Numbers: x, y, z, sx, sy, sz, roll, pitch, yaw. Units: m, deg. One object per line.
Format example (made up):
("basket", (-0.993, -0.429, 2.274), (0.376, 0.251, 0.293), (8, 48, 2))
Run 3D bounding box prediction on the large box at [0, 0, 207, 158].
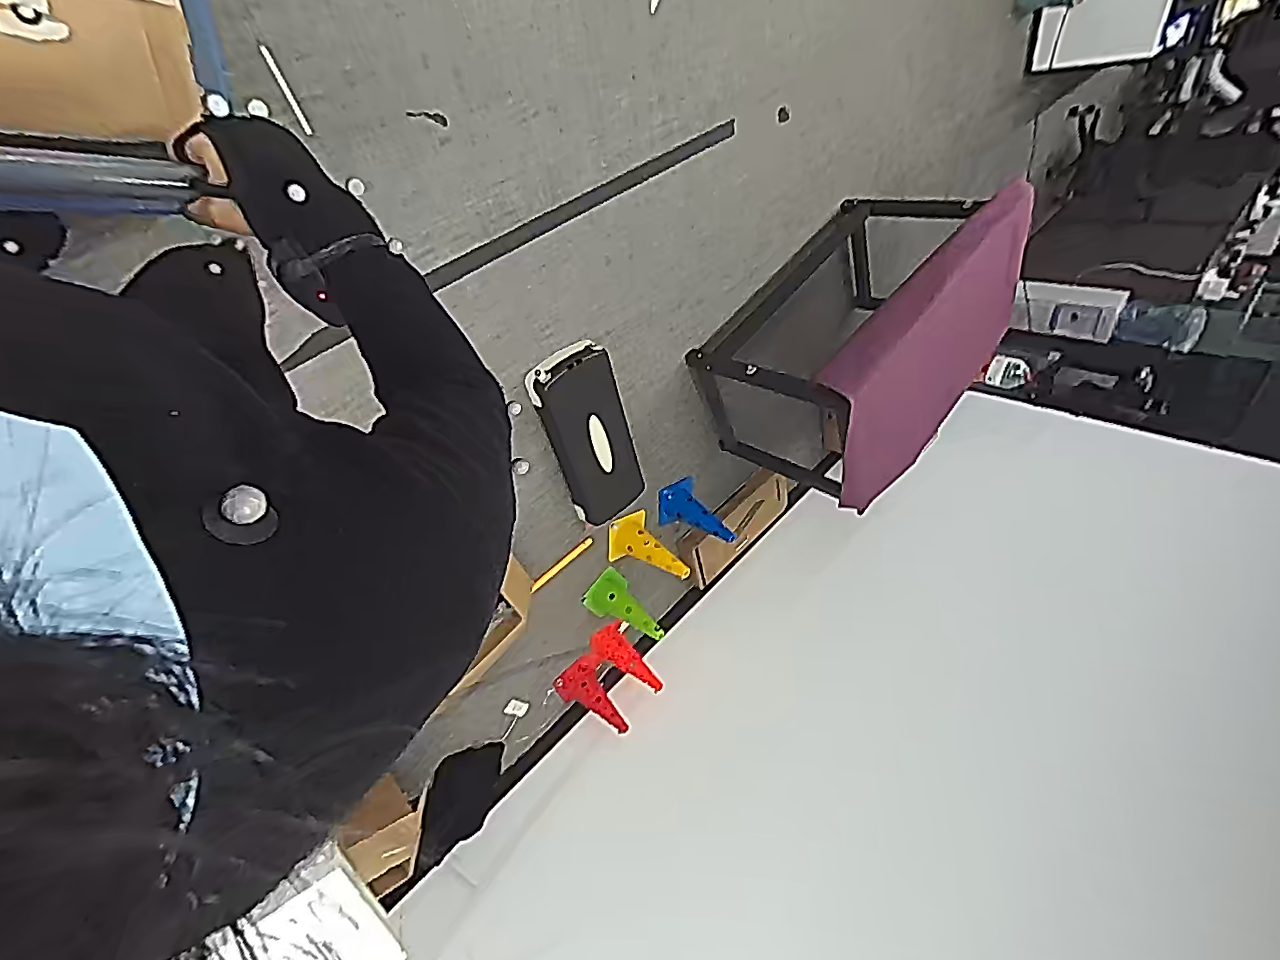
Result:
("large box", (-0.809, -0.572, 0.621), (0.408, 0.320, 0.320), (-19, 124, -38))
